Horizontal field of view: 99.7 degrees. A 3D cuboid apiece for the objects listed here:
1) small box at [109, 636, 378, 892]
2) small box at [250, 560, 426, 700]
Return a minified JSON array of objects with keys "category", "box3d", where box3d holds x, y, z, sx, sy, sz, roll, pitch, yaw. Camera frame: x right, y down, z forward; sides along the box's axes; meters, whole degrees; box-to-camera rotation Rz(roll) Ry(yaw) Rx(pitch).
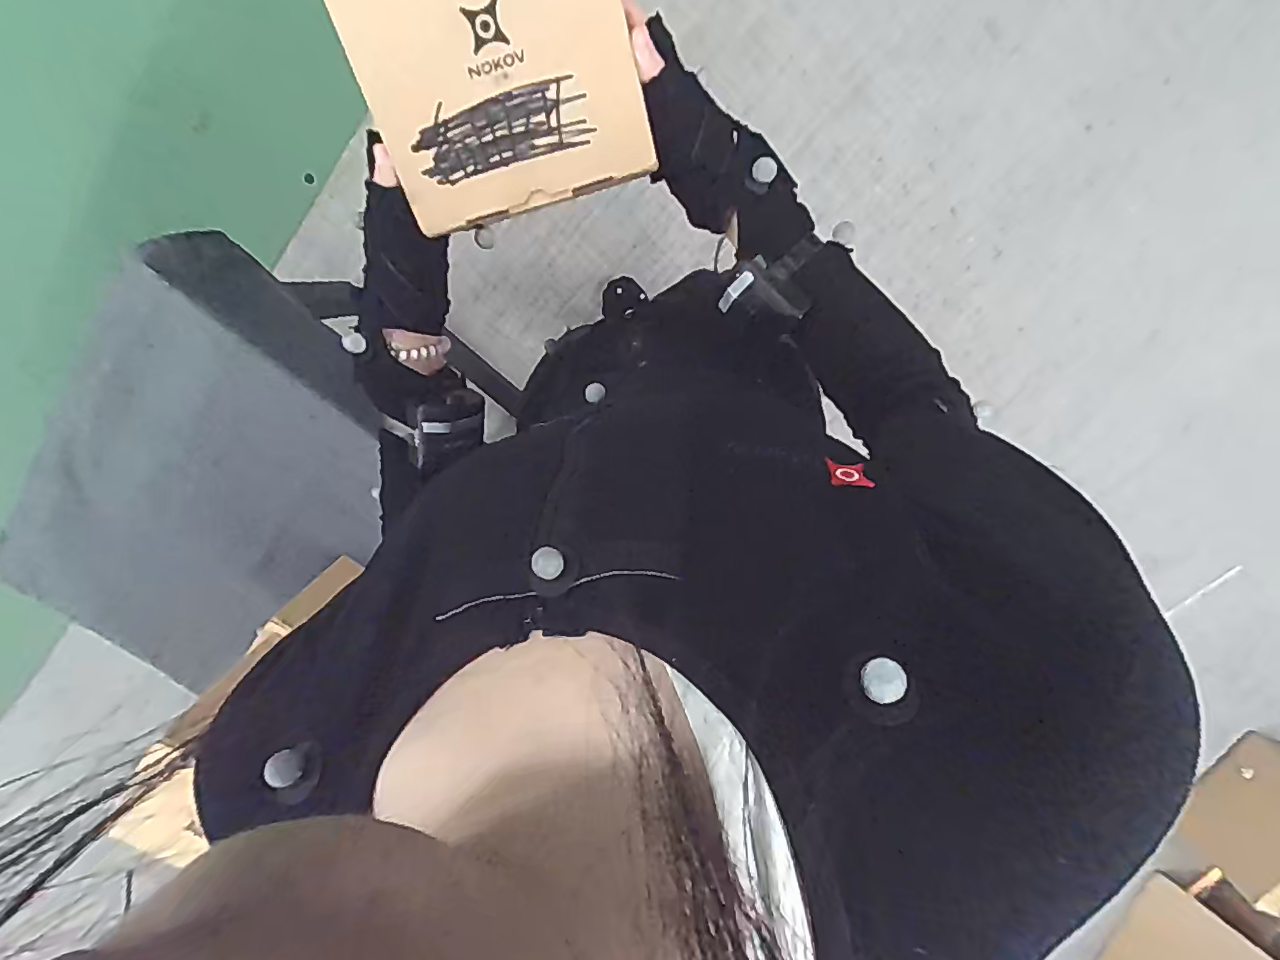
[{"category":"small box","box3d":[-0.451,0.327,0.644,0.168,0.176,0.179,37,108,-11]},{"category":"small box","box3d":[-0.442,0.250,0.790,0.168,0.176,0.179,39,109,-11]}]
